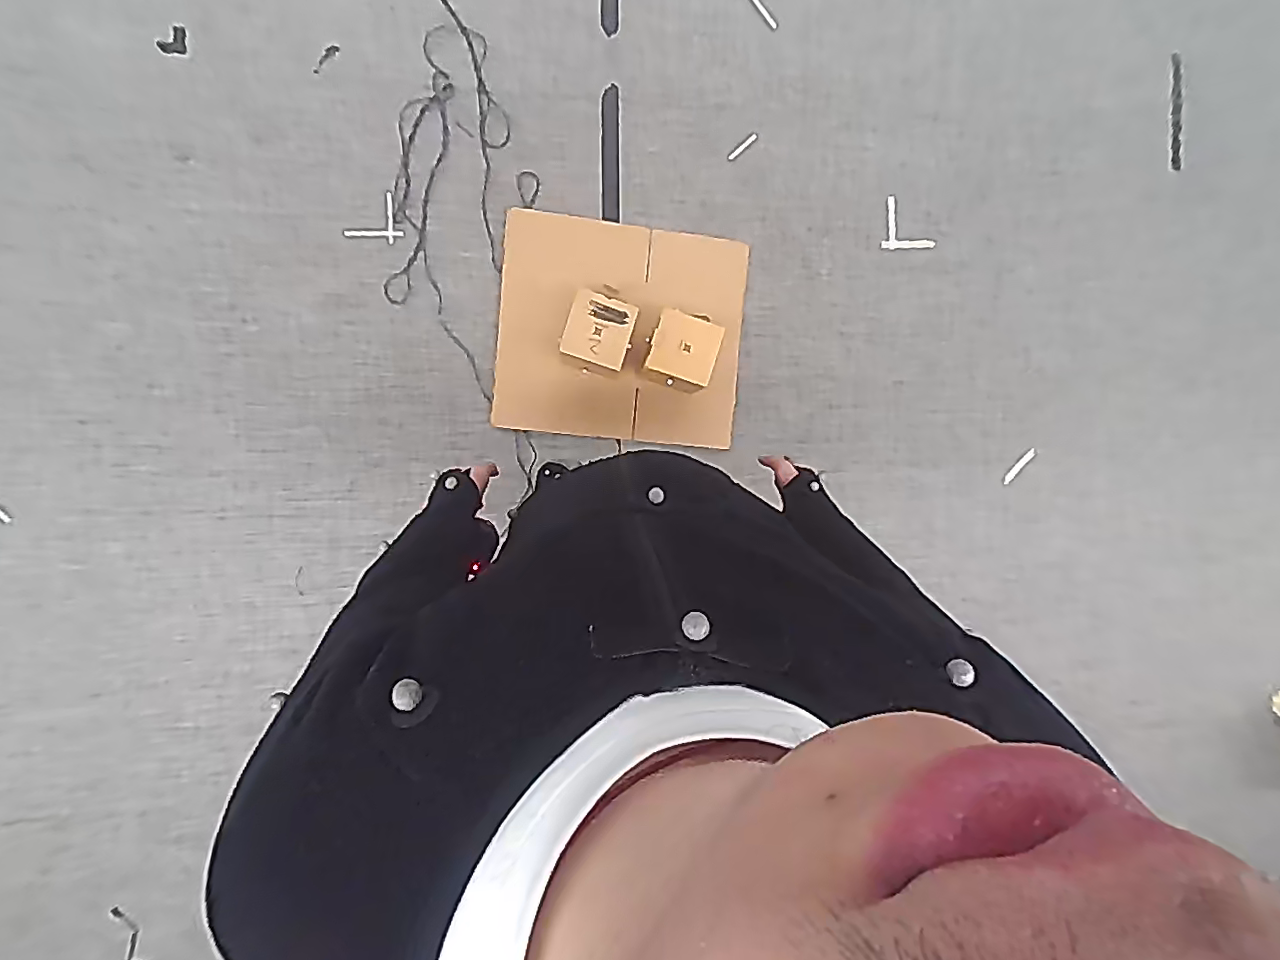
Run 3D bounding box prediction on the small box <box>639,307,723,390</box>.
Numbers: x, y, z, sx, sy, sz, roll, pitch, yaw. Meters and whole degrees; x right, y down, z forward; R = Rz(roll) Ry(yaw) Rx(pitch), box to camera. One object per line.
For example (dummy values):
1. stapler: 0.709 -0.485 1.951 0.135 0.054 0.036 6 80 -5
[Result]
1. small box: 0.108 -0.357 1.505 0.179 0.176 0.168 17 90 -7
